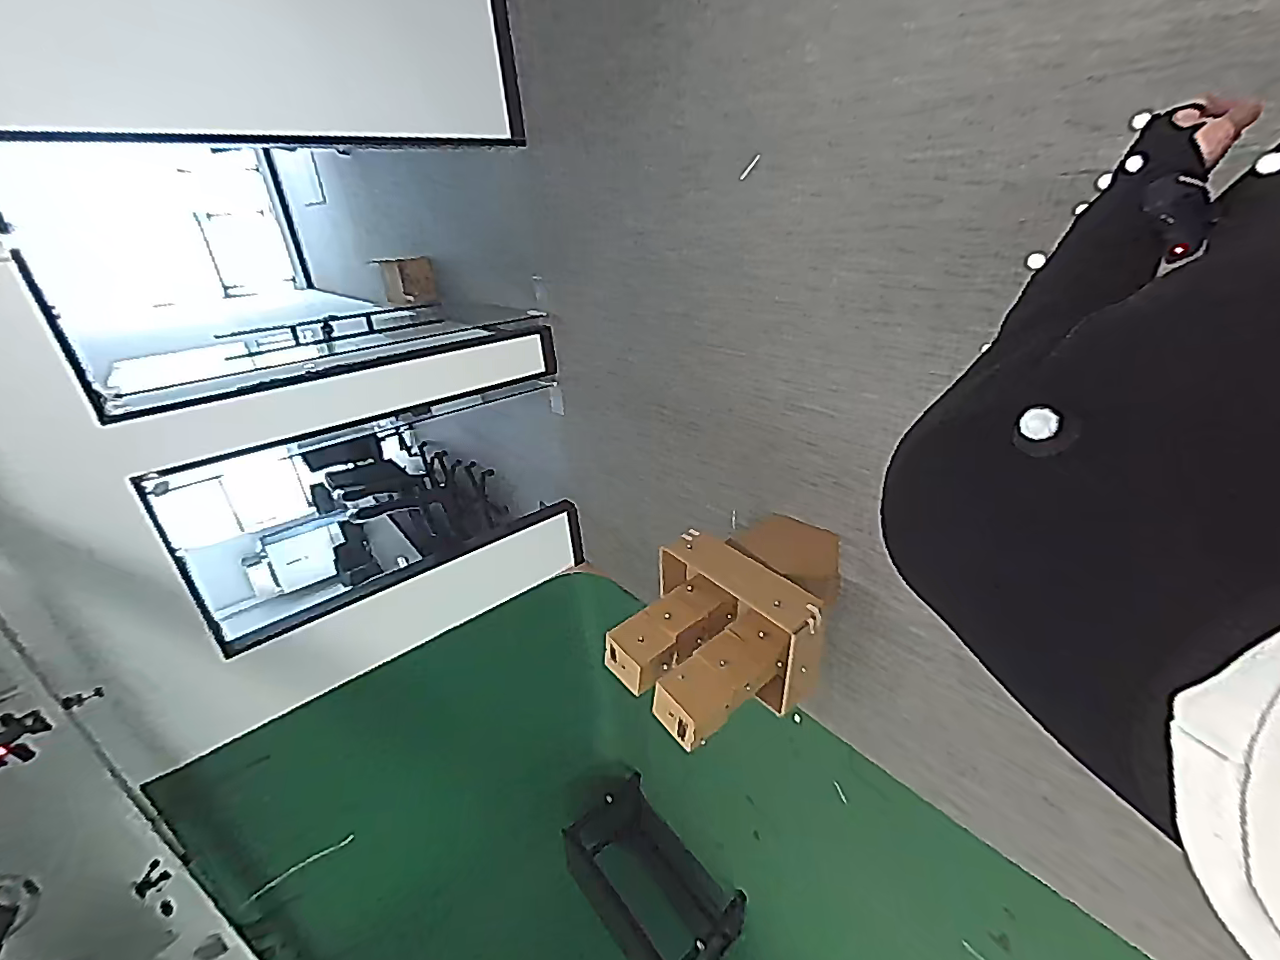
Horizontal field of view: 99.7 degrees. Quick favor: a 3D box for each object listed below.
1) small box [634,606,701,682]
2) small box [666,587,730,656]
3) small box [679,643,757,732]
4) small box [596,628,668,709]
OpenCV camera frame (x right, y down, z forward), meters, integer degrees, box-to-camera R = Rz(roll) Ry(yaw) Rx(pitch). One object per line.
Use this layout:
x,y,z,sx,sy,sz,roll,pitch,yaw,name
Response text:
0.096,0.577,1.934,0.179,0.176,0.168,24,126,42,small box
0.214,0.524,2.030,0.179,0.176,0.168,26,129,43,small box
0.256,0.671,1.769,0.179,0.176,0.168,38,135,37,small box
-0.028,0.631,1.842,0.179,0.176,0.168,33,132,35,small box
